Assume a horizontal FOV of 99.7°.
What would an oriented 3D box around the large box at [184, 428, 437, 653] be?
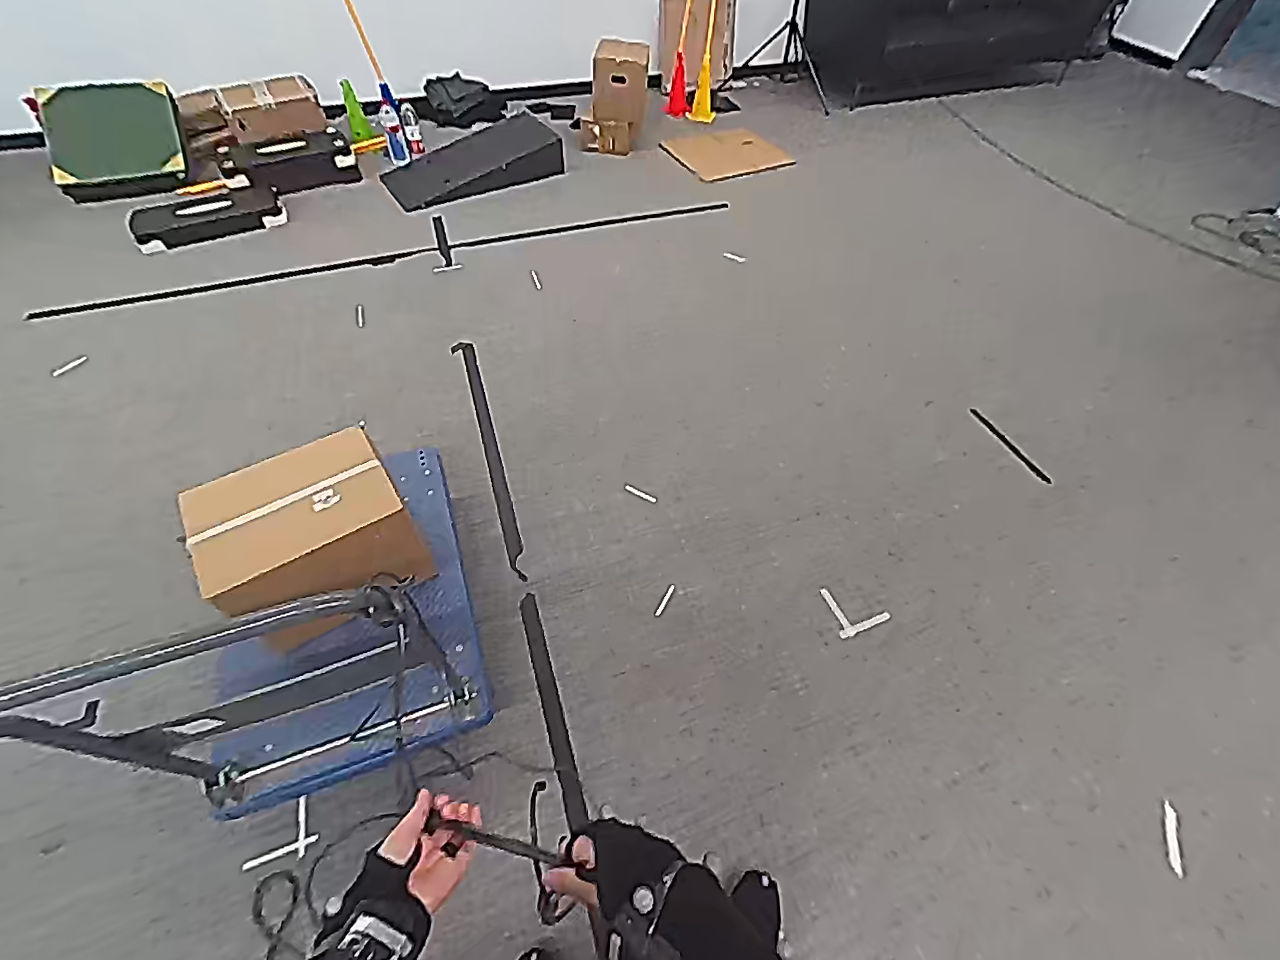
[{"bbox_3d":[-0.779,0.144,1.323,0.408,0.320,0.320,-27,58,-22],"label":"large box"}]
